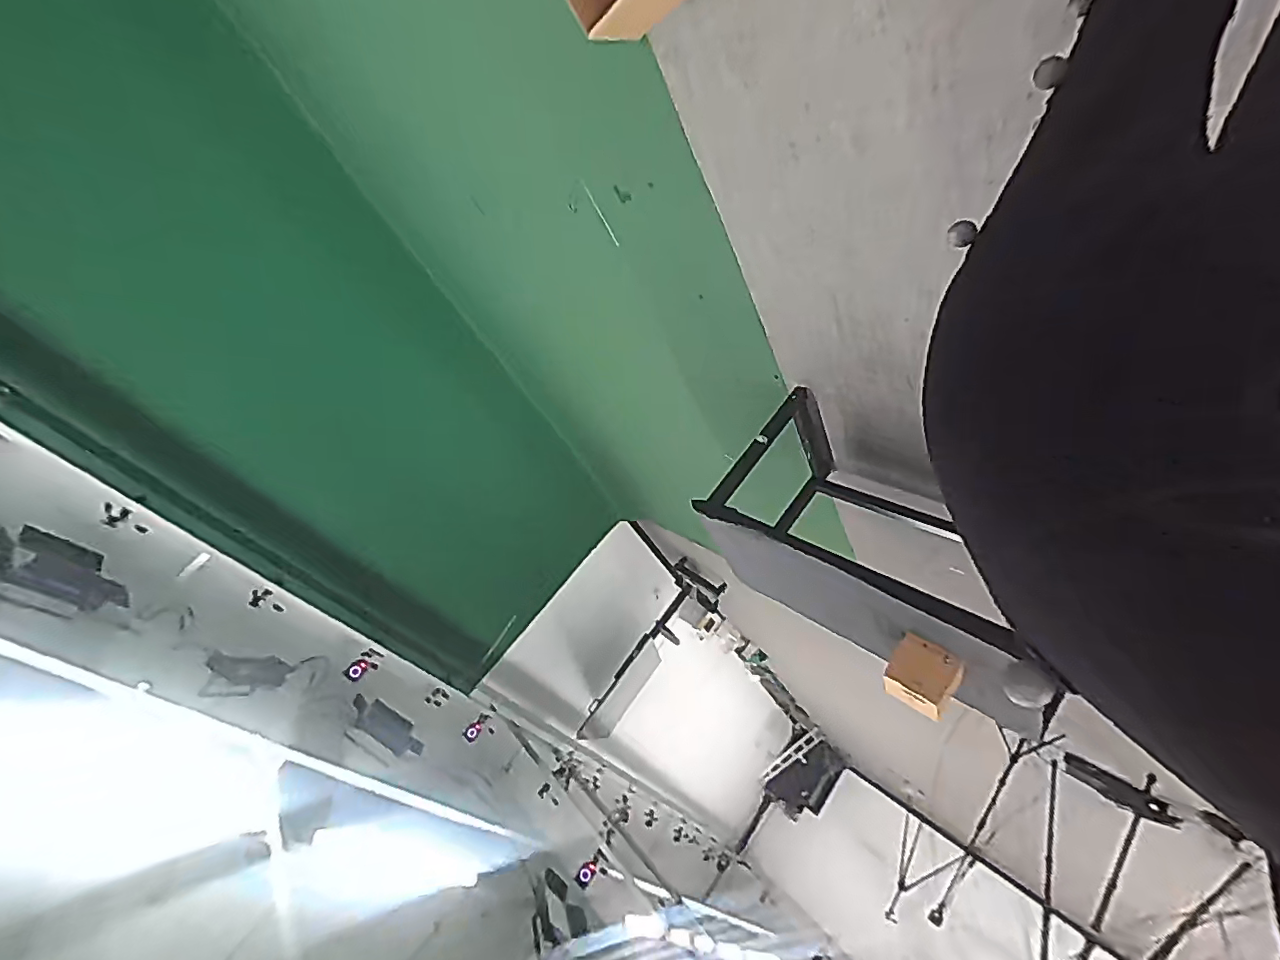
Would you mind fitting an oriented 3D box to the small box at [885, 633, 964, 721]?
[{"bbox_3d":[0.886,0.609,1.685,0.168,0.176,0.179,27,159,41],"label":"small box"}]
